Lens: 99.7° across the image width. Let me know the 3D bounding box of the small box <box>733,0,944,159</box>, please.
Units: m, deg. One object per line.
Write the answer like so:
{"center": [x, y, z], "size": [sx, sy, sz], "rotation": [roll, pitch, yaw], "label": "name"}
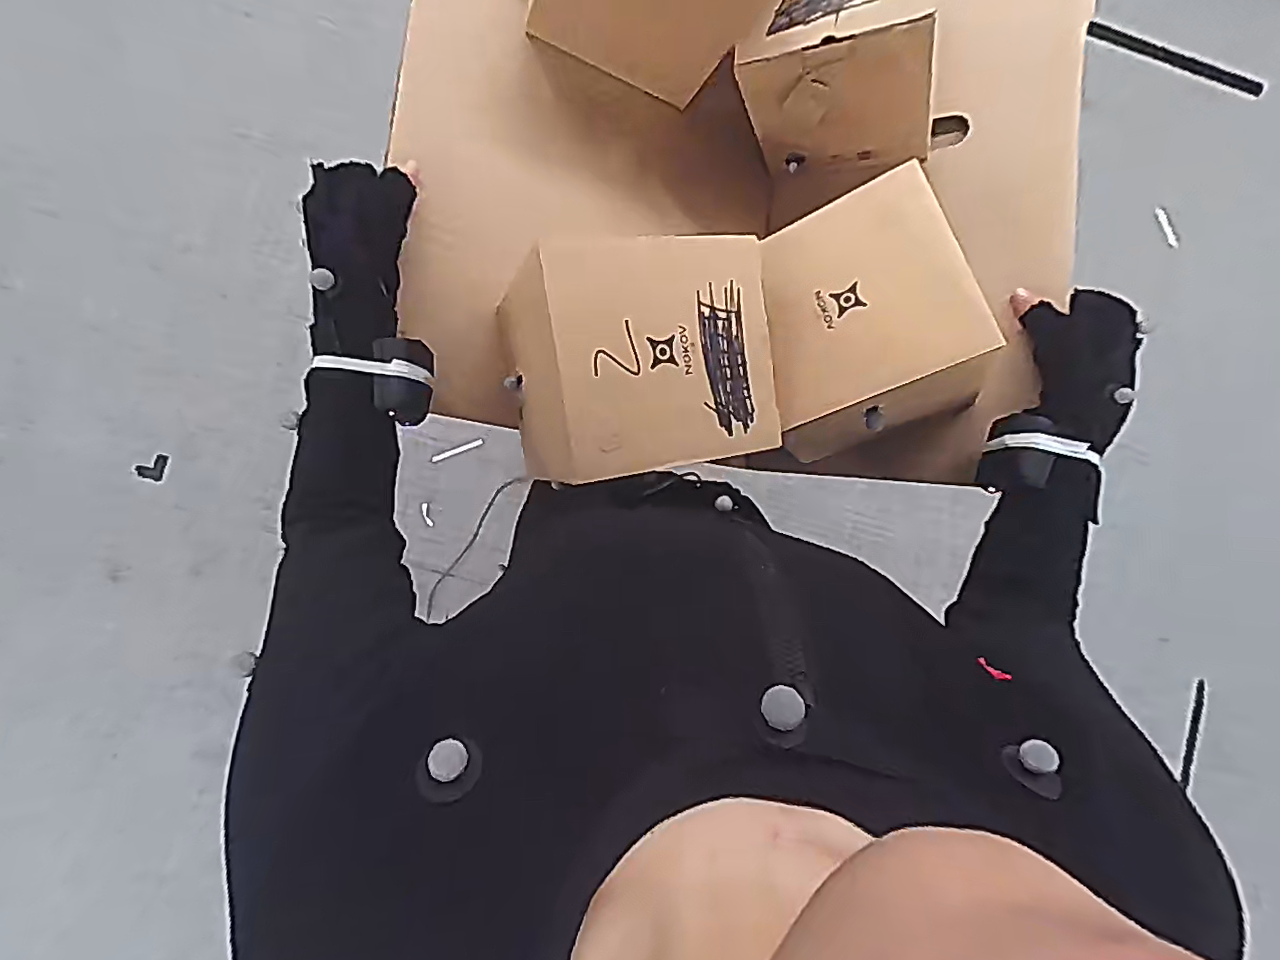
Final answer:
{"center": [0.205, -0.451, 0.537], "size": [0.168, 0.176, 0.179], "rotation": [7, 85, 26], "label": "small box"}
